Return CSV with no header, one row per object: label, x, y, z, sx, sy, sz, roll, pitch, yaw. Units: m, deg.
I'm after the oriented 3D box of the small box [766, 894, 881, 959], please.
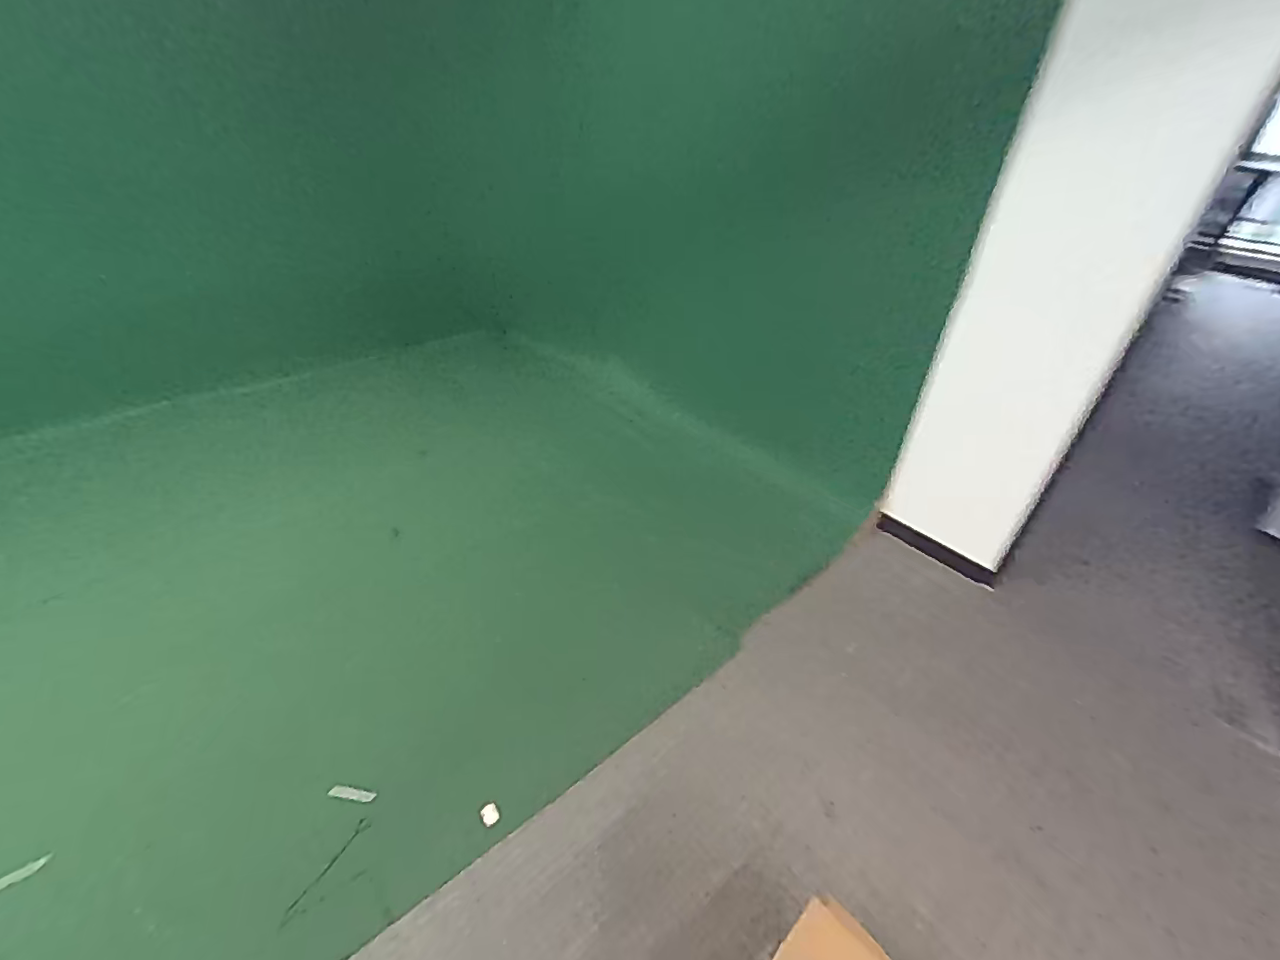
small box,0.240,0.710,0.708,0.168,0.176,0.179,-25,43,-35
